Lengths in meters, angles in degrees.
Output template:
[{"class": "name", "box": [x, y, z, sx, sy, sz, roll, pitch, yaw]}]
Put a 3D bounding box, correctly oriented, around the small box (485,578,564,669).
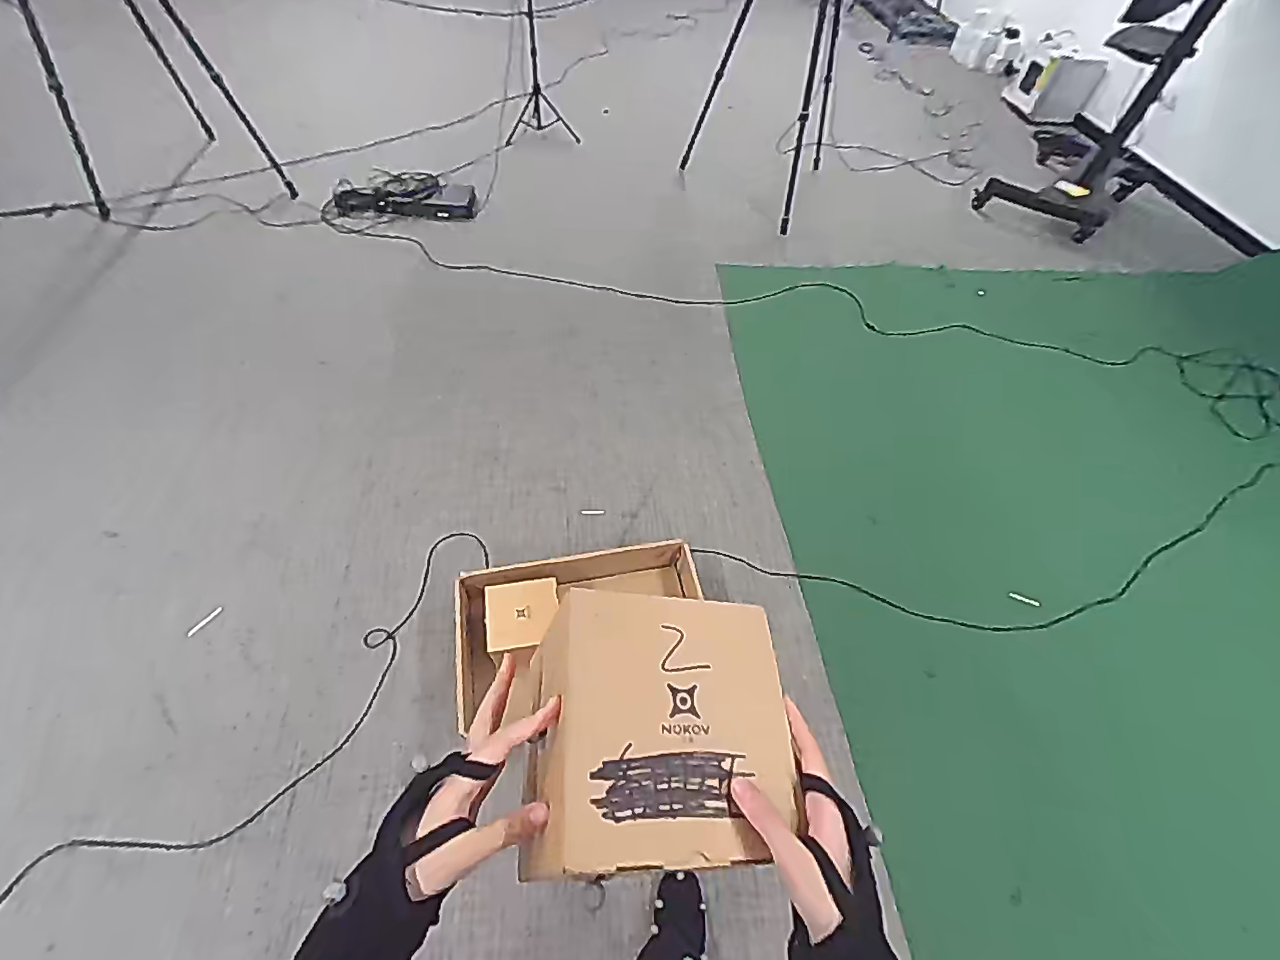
[{"class": "small box", "box": [-0.289, 0.367, 1.371, 0.179, 0.176, 0.168, -6, 57, -10]}]
